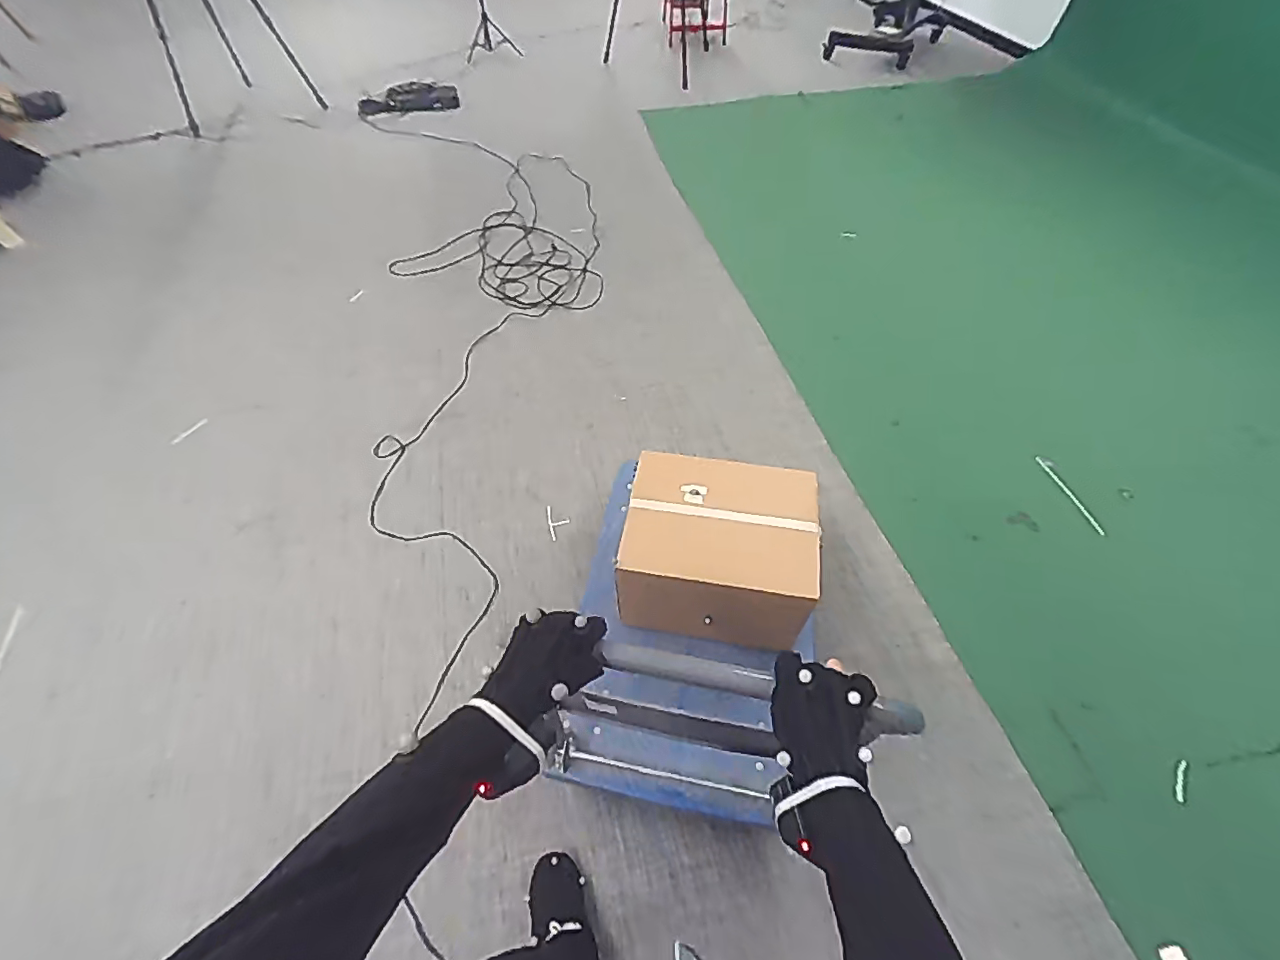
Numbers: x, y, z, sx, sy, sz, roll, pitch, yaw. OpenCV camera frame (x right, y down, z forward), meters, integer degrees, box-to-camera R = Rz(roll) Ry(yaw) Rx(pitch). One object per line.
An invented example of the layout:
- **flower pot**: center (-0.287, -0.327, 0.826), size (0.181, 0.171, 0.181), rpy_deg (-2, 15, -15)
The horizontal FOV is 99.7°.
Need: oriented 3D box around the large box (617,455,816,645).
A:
- **large box**: center (0.178, 0.171, 1.279), size (0.408, 0.320, 0.320), rpy_deg (7, 54, 7)
